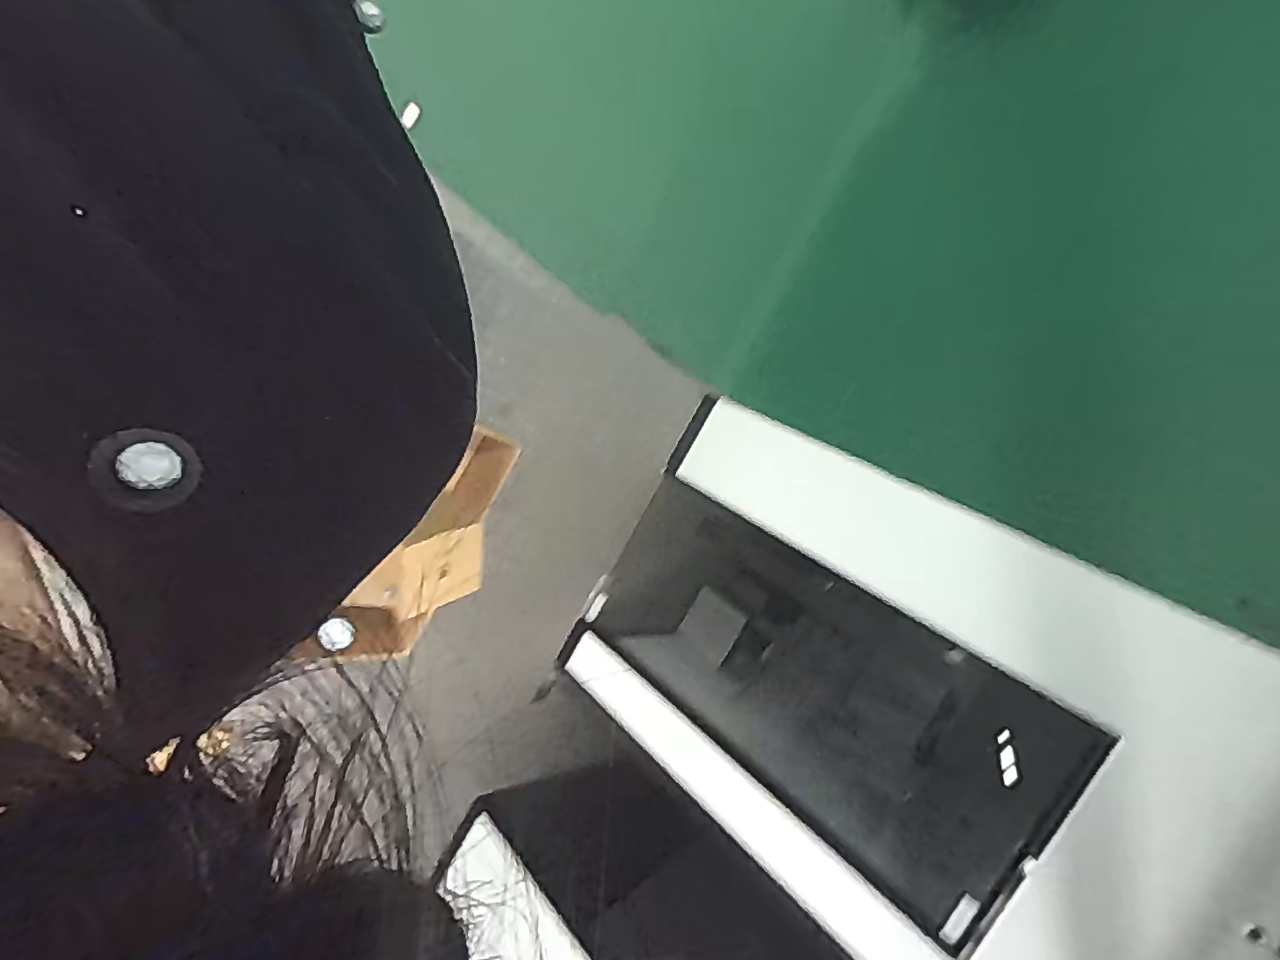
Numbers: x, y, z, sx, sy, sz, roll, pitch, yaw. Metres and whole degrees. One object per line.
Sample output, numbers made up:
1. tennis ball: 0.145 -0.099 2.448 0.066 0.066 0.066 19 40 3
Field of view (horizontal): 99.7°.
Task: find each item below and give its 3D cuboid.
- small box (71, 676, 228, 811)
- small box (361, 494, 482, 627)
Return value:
1. small box: -1.027 0.547 1.137 0.168 0.176 0.179 -40 143 -25
2. small box: -0.438 0.153 1.082 0.168 0.176 0.179 -18 129 -45
